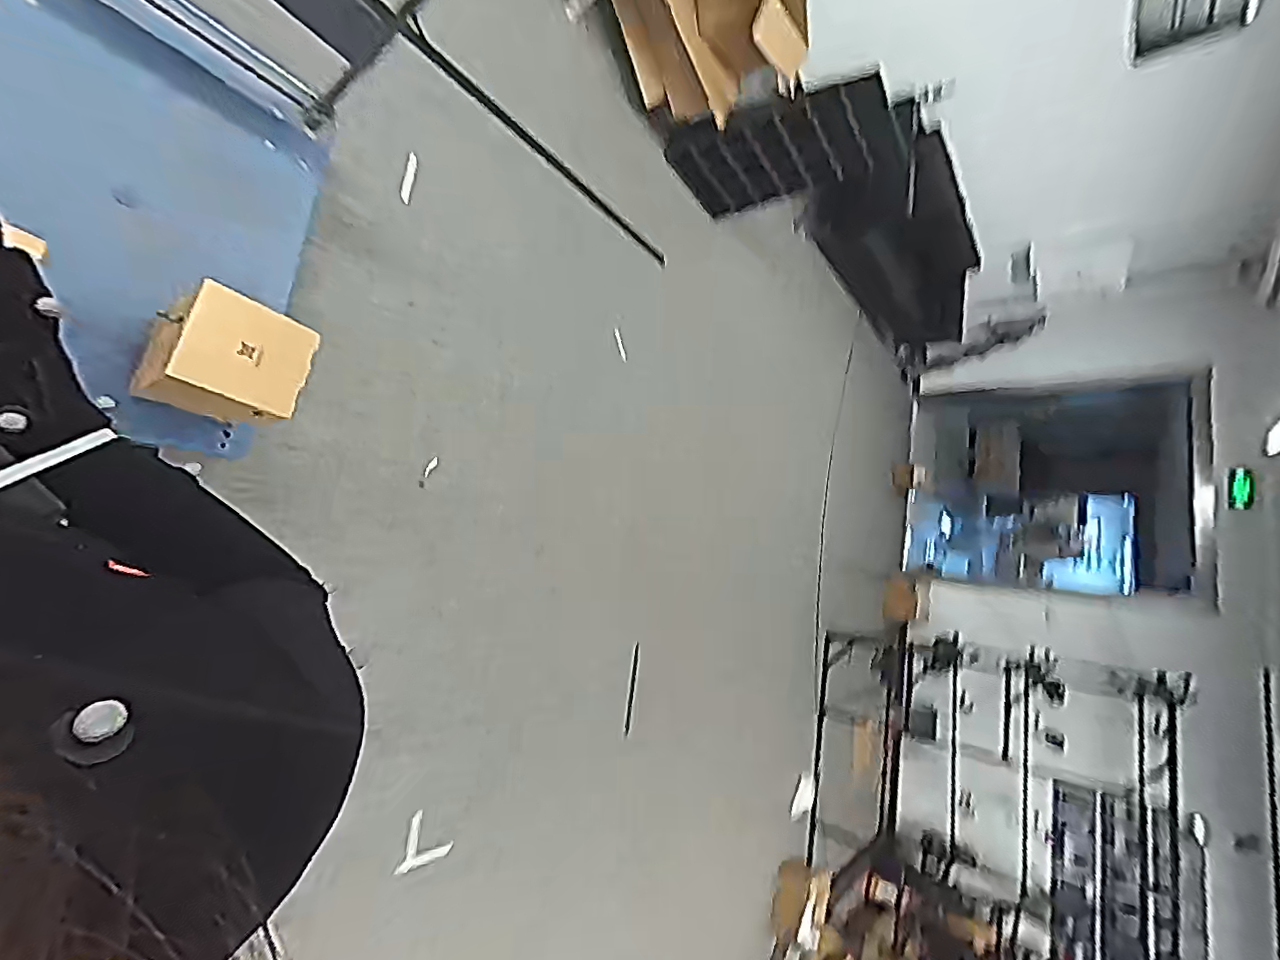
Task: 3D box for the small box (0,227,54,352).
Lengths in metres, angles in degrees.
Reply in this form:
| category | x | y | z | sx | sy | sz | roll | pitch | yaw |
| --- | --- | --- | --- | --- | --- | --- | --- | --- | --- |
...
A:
| category | x | y | z | sx | sy | sz | roll | pitch | yaw |
| --- | --- | --- | --- | --- | --- | --- | --- | --- | --- |
| small box | -1.017 | -0.297 | 0.787 | 0.179 | 0.176 | 0.168 | 26 | 70 | -48 |

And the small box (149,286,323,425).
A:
| category | x | y | z | sx | sy | sz | roll | pitch | yaw |
| --- | --- | --- | --- | --- | --- | --- | --- | --- | --- |
| small box | -0.696 | -0.200 | 0.931 | 0.179 | 0.176 | 0.168 | 28 | 68 | -49 |
